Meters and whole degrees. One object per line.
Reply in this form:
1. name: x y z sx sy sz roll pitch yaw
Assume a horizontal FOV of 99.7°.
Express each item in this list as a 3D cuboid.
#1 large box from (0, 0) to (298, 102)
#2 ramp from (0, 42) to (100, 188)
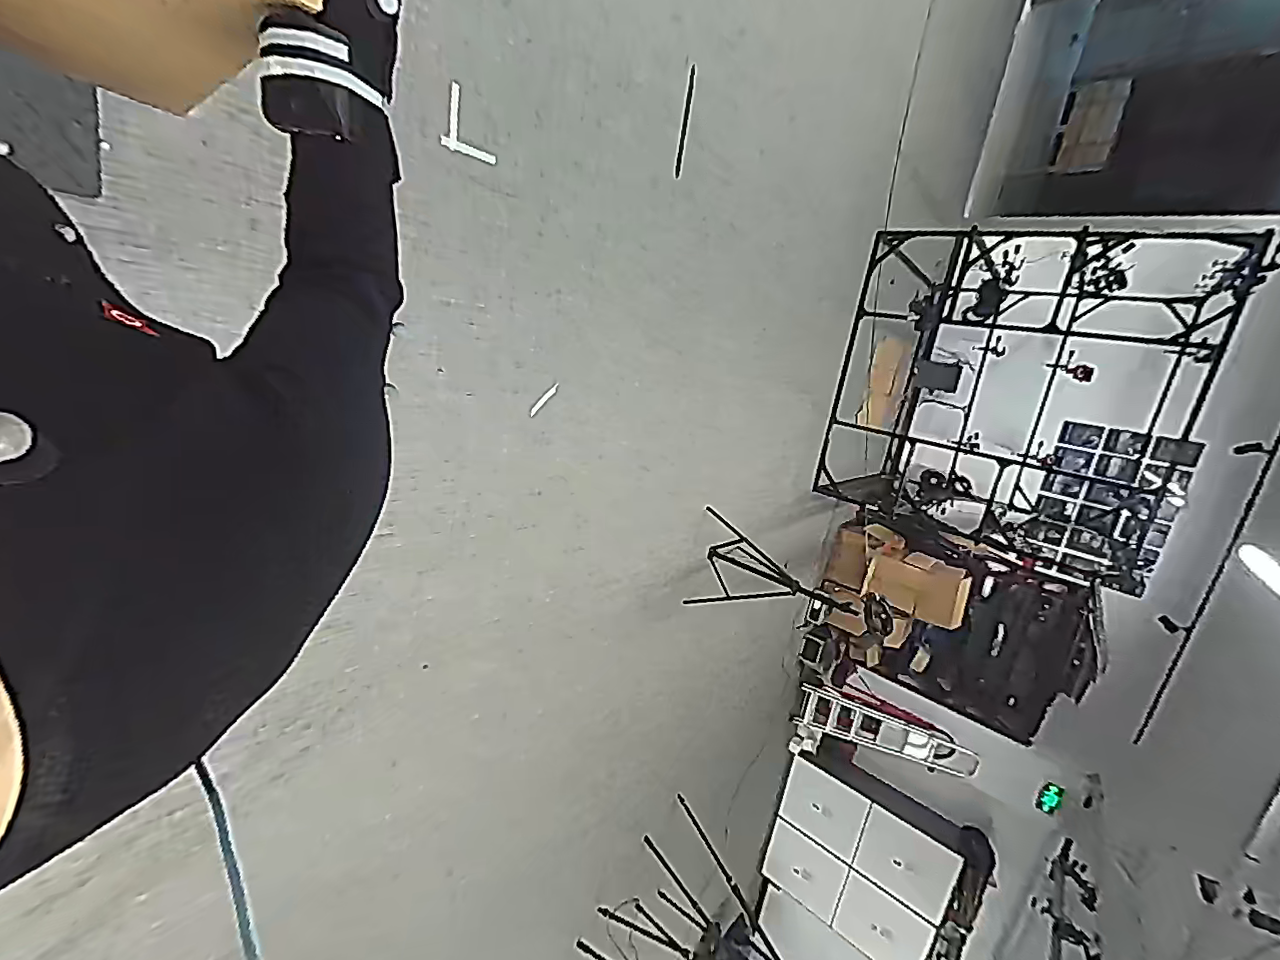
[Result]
1. large box: -0.446 -0.477 0.267 0.408 0.320 0.320 -7 106 -53
2. ramp: -1.012 -0.959 0.651 0.509 0.206 0.991 -11 115 -51
